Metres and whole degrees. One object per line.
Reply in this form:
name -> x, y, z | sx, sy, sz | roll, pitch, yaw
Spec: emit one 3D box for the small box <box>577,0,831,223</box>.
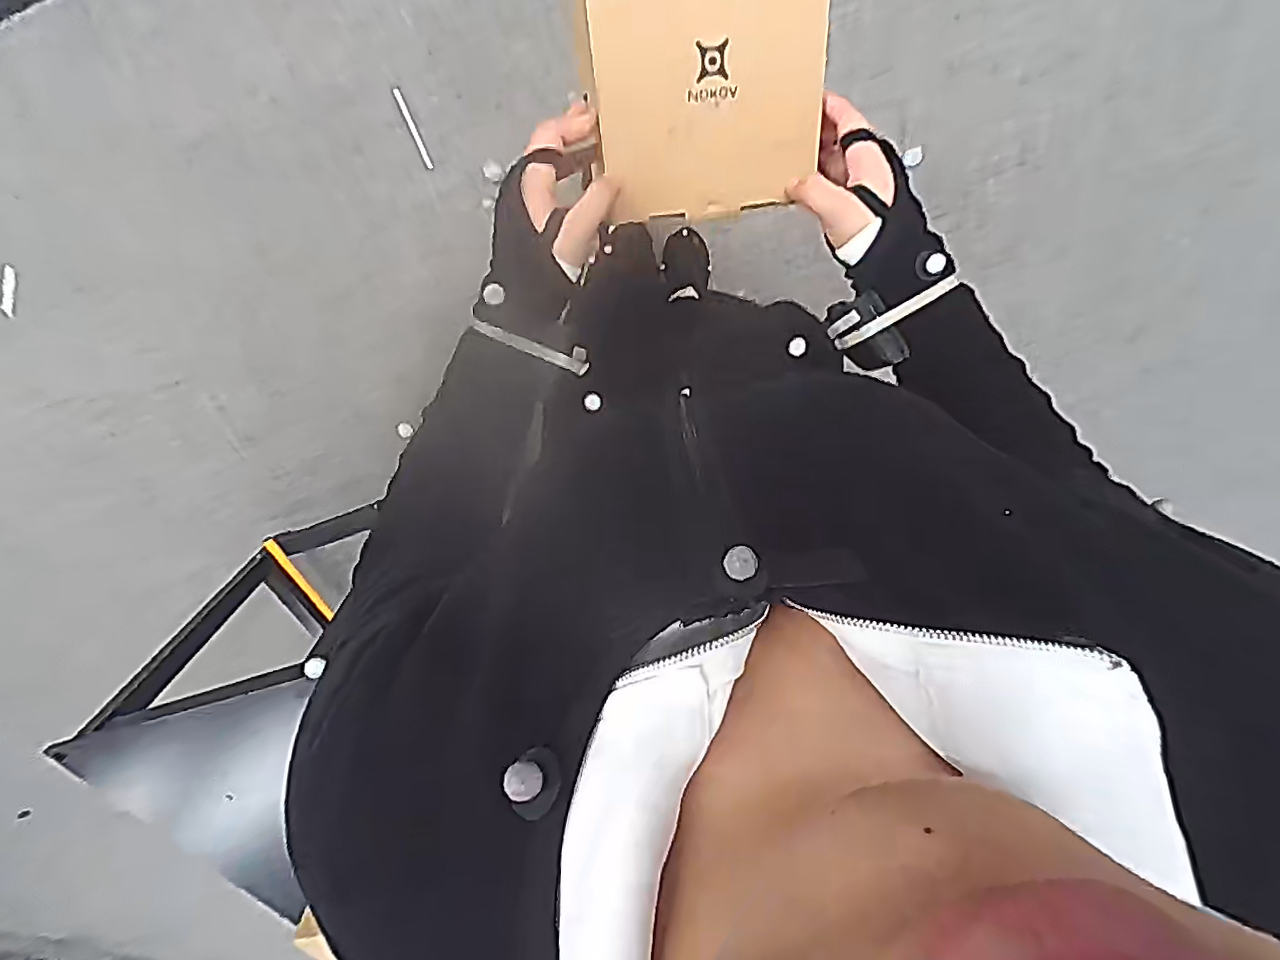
small box -> 0.041, -0.327, 0.444 | 0.168, 0.176, 0.179 | -8, 124, -3
